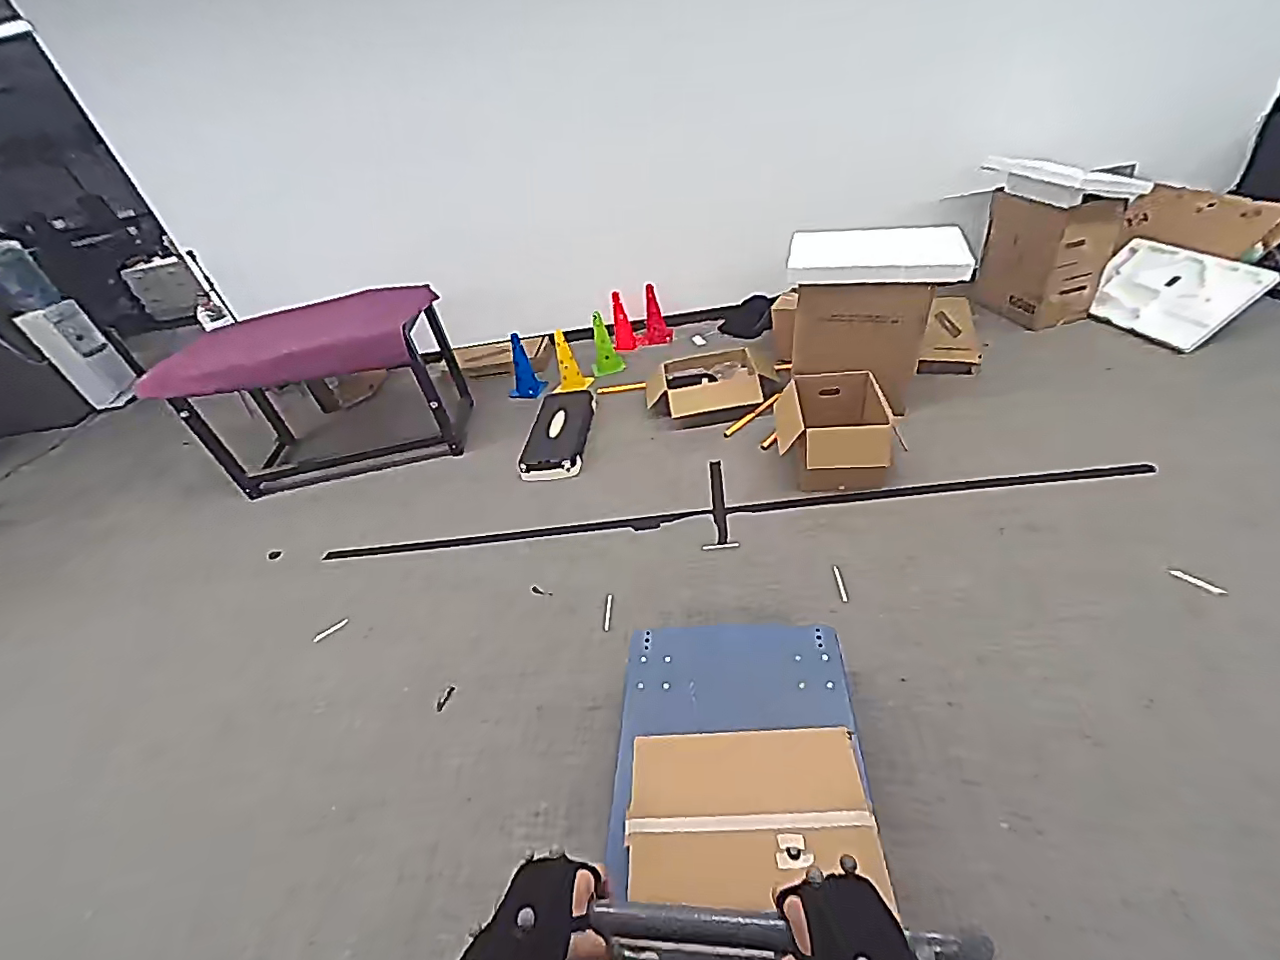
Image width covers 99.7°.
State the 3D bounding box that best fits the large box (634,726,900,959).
[{"bbox_3d":[0.209,0.698,1.012,0.408,0.320,0.320,-6,39,6],"label":"large box"}]
